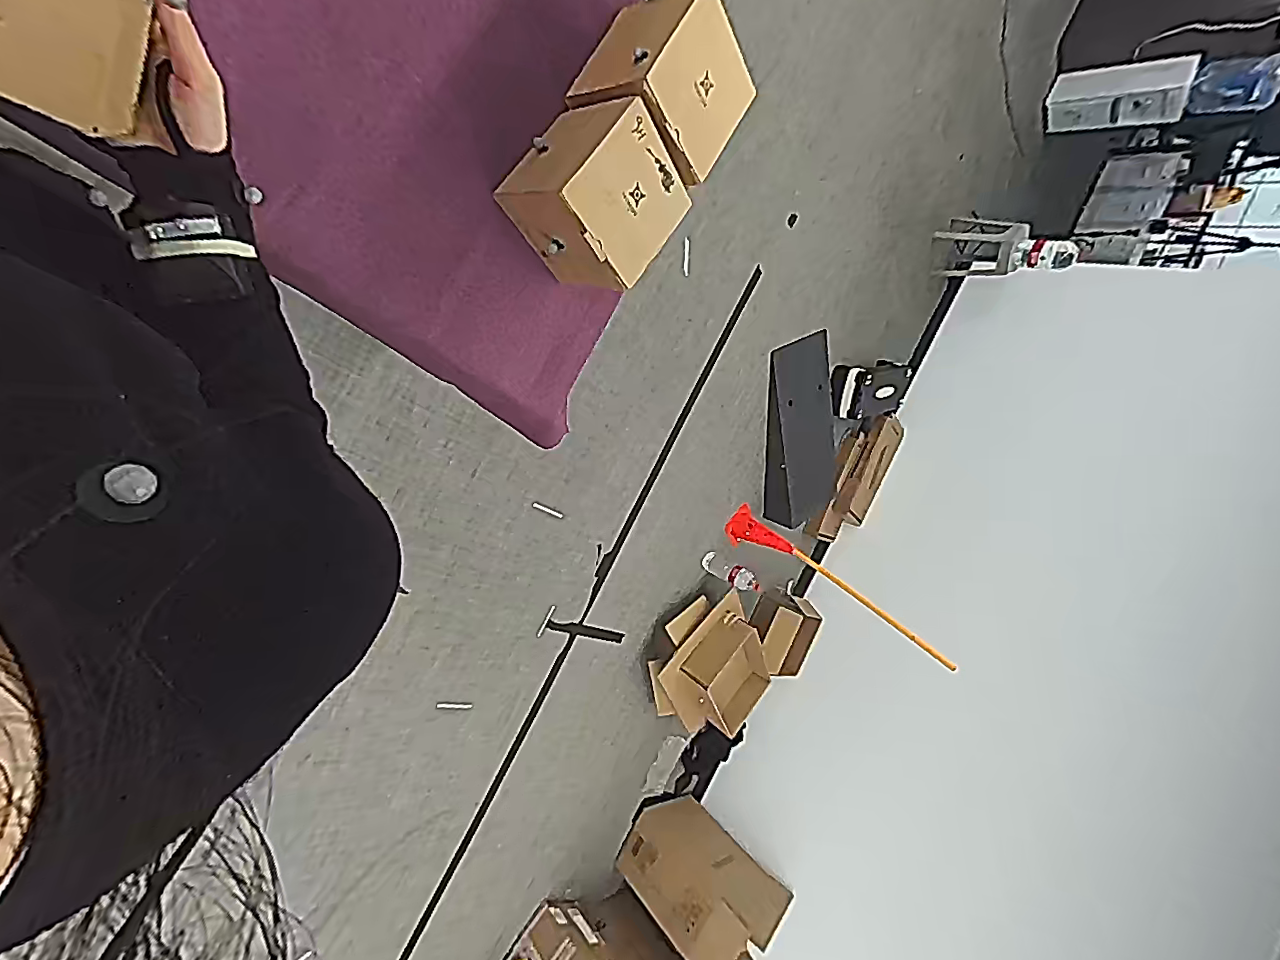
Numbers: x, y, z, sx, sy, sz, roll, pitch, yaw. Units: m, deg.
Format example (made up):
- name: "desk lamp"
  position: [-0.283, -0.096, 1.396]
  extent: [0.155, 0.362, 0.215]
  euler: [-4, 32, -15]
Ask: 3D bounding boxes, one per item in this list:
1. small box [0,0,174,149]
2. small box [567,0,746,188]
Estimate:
- name: "small box"
  position: [-0.310, -0.278, 0.230]
  extent: [0.168, 0.176, 0.179]
  euler: [14, 108, -43]
- name: "small box"
  position: [0.023, -0.565, 0.802]
  extent: [0.168, 0.176, 0.179]
  euler: [37, 81, -49]
